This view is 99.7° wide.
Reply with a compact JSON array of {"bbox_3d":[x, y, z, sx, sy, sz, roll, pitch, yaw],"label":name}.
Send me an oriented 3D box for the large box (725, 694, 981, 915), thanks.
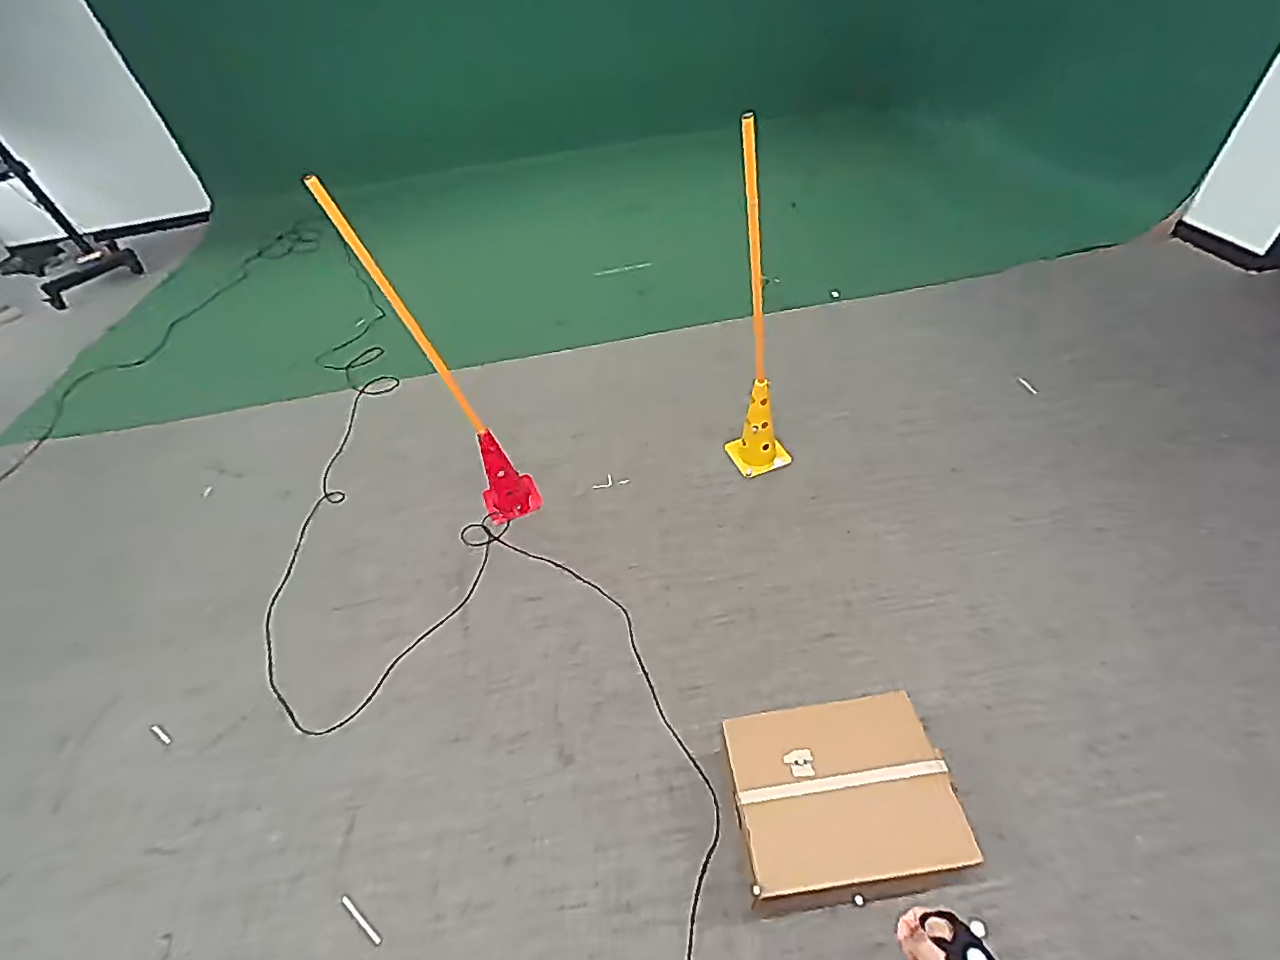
[{"bbox_3d":[0.415,0.703,1.167,0.408,0.320,0.320,-10,45,1],"label":"large box"}]
